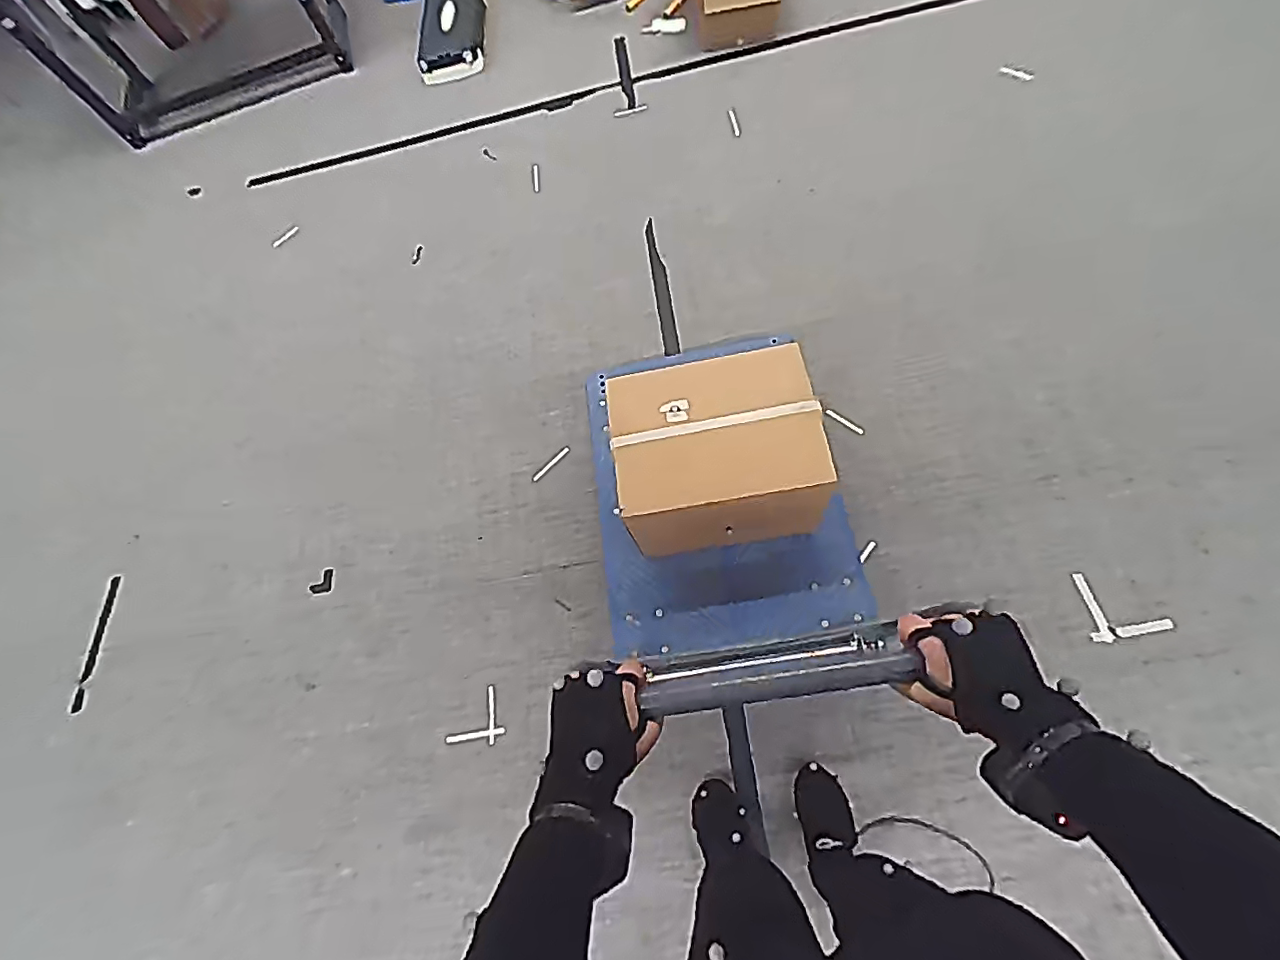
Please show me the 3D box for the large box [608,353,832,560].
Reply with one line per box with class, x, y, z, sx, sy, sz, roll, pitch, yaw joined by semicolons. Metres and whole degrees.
large box;0.171;-0.033;1.213;0.408;0.320;0.320;-11;65;6
